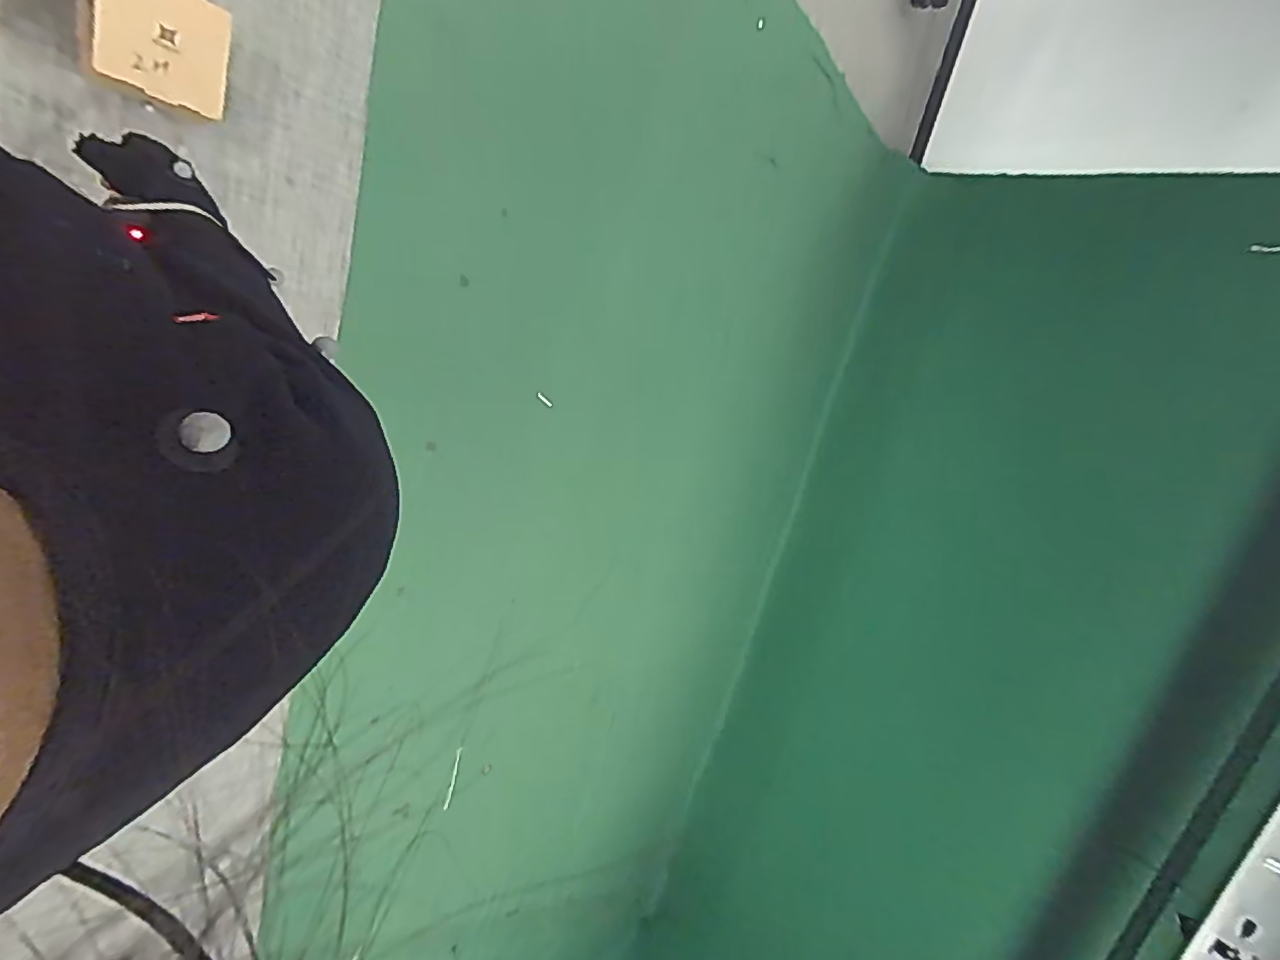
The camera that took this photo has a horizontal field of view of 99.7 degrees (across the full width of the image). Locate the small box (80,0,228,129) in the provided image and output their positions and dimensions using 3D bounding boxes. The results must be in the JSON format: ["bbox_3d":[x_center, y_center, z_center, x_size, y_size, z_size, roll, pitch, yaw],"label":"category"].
[{"bbox_3d":[-0.845,-0.744,0.937,0.168,0.176,0.179,2,109,-50],"label":"small box"}]
